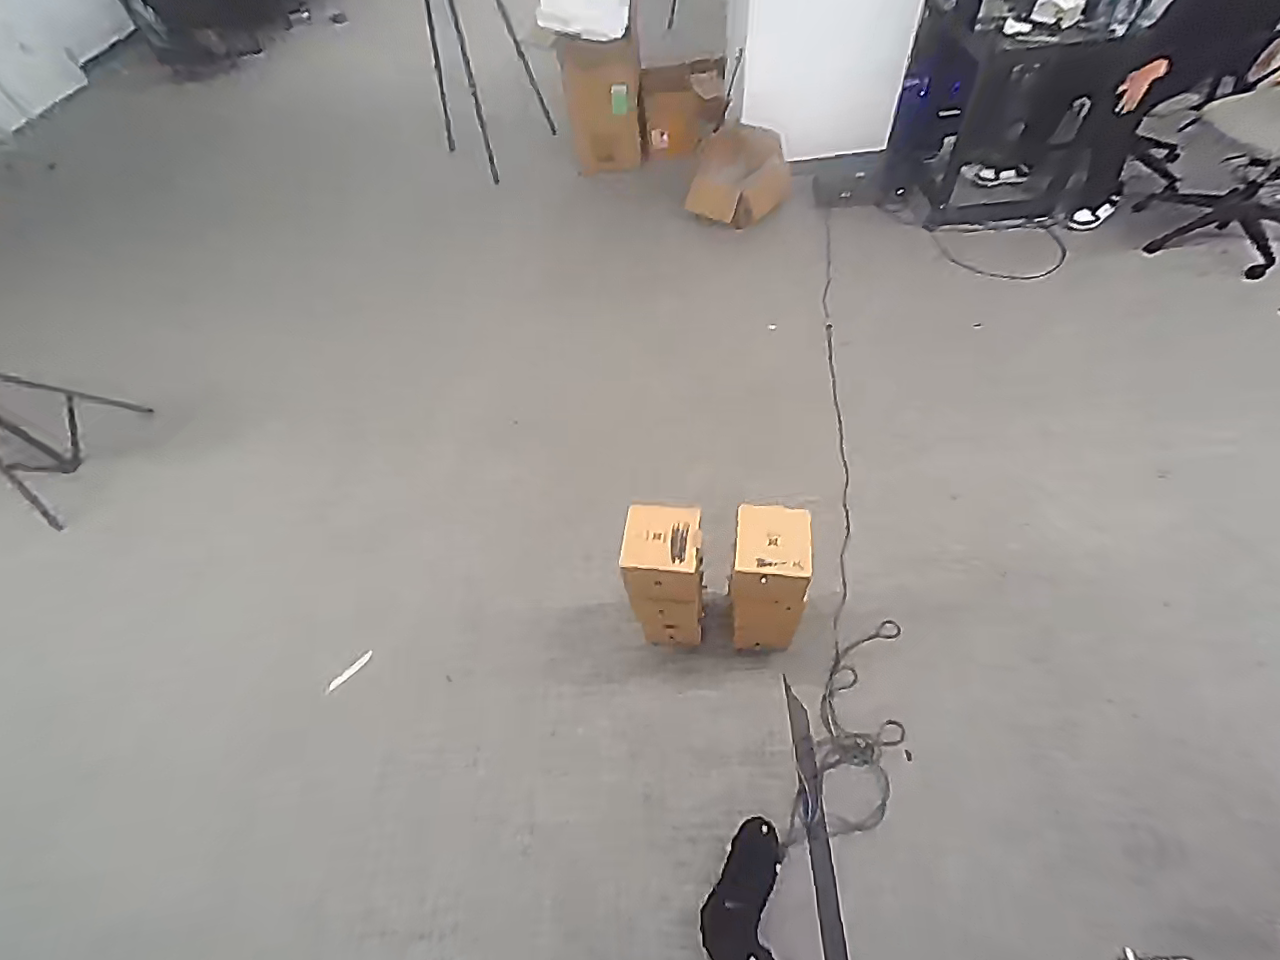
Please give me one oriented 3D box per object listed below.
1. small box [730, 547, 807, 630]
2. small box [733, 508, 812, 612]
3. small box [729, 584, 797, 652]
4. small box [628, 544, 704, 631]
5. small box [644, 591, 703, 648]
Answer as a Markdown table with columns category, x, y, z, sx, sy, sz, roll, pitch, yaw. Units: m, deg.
| category | x | y | z | sx | sy | sz | roll | pitch | yaw |
| --- | --- | --- | --- | --- | --- | --- | --- | --- | --- |
| small box | 0.328 | 0.285 | 1.413 | 0.179 | 0.176 | 0.168 | -2 | 54 | 6 |
| small box | 0.310 | 0.190 | 1.280 | 0.168 | 0.176 | 0.179 | 4 | 54 | 10 |
| small box | 0.344 | 0.379 | 1.544 | 0.168 | 0.176 | 0.179 | -3 | 54 | 6 |
| small box | 0.076 | 0.288 | 1.435 | 0.179 | 0.176 | 0.168 | 4 | 54 | 11 |
| small box | 0.099 | 0.372 | 1.575 | 0.168 | 0.176 | 0.179 | 1 | 55 | 8 |
